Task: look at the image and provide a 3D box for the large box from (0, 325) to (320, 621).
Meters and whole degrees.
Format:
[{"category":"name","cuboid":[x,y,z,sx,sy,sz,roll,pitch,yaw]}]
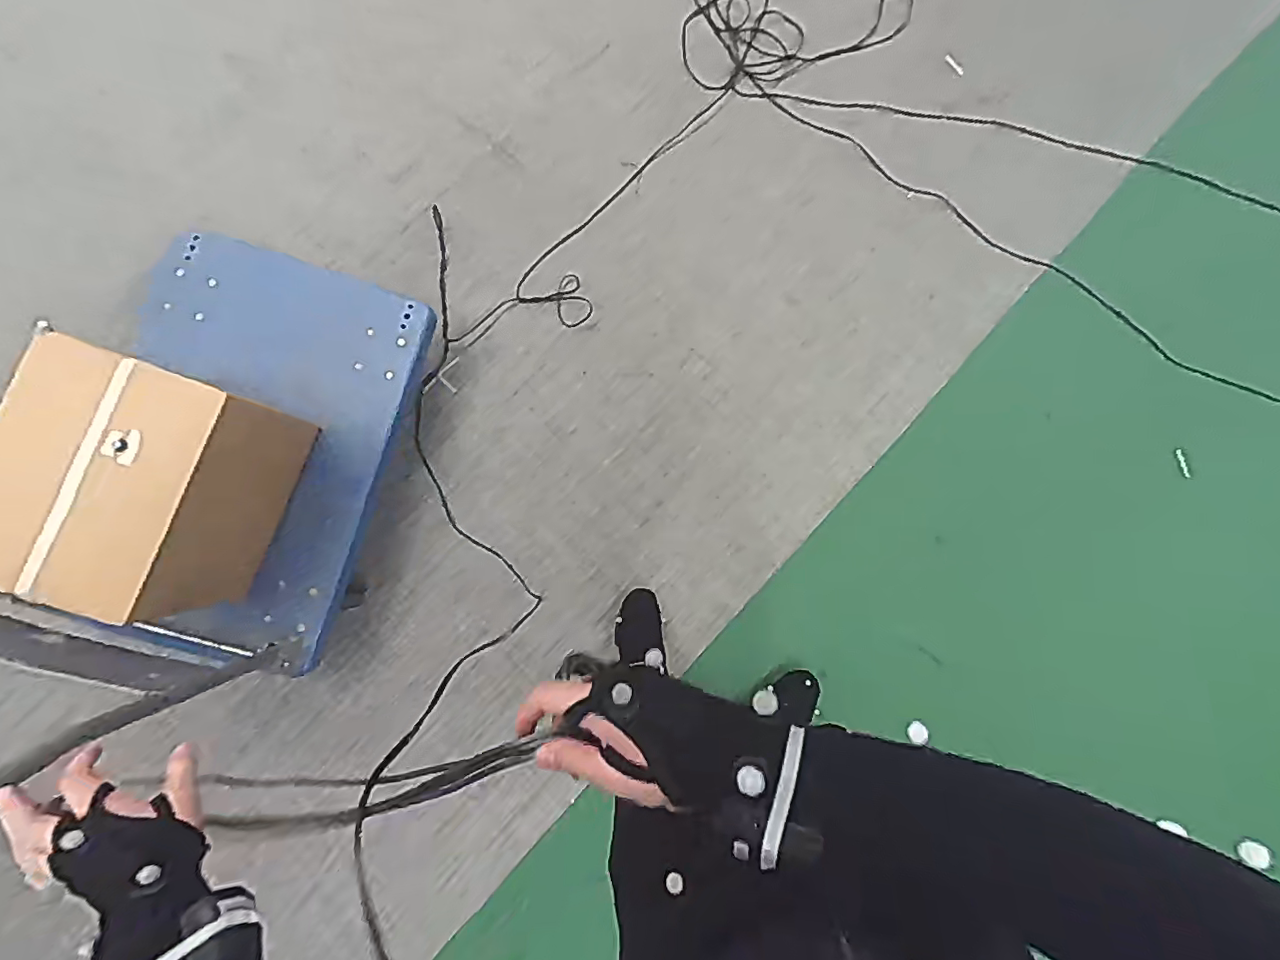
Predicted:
[{"category":"large box","cuboid":[-0.886,0.000,1.000,0.320,0.320,0.408,21,83,-4]}]
